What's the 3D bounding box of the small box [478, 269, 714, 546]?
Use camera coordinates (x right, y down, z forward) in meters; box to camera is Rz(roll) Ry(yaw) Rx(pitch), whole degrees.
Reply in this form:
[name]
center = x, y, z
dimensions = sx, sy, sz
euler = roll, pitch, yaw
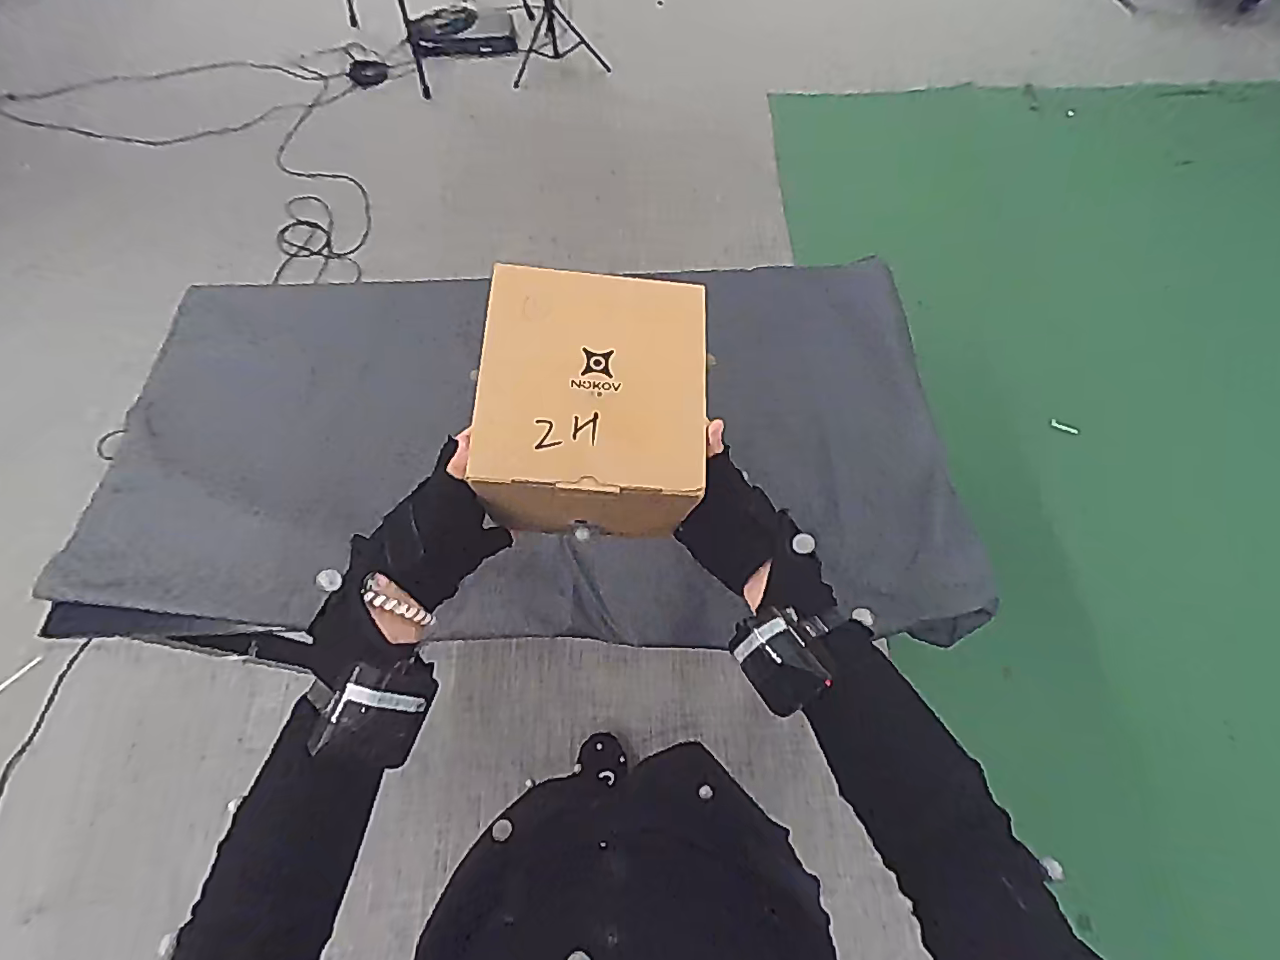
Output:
[small box]
center = -0.037, -0.049, 0.474
dimensions = 0.168, 0.176, 0.179
euler = 5, 72, -6
